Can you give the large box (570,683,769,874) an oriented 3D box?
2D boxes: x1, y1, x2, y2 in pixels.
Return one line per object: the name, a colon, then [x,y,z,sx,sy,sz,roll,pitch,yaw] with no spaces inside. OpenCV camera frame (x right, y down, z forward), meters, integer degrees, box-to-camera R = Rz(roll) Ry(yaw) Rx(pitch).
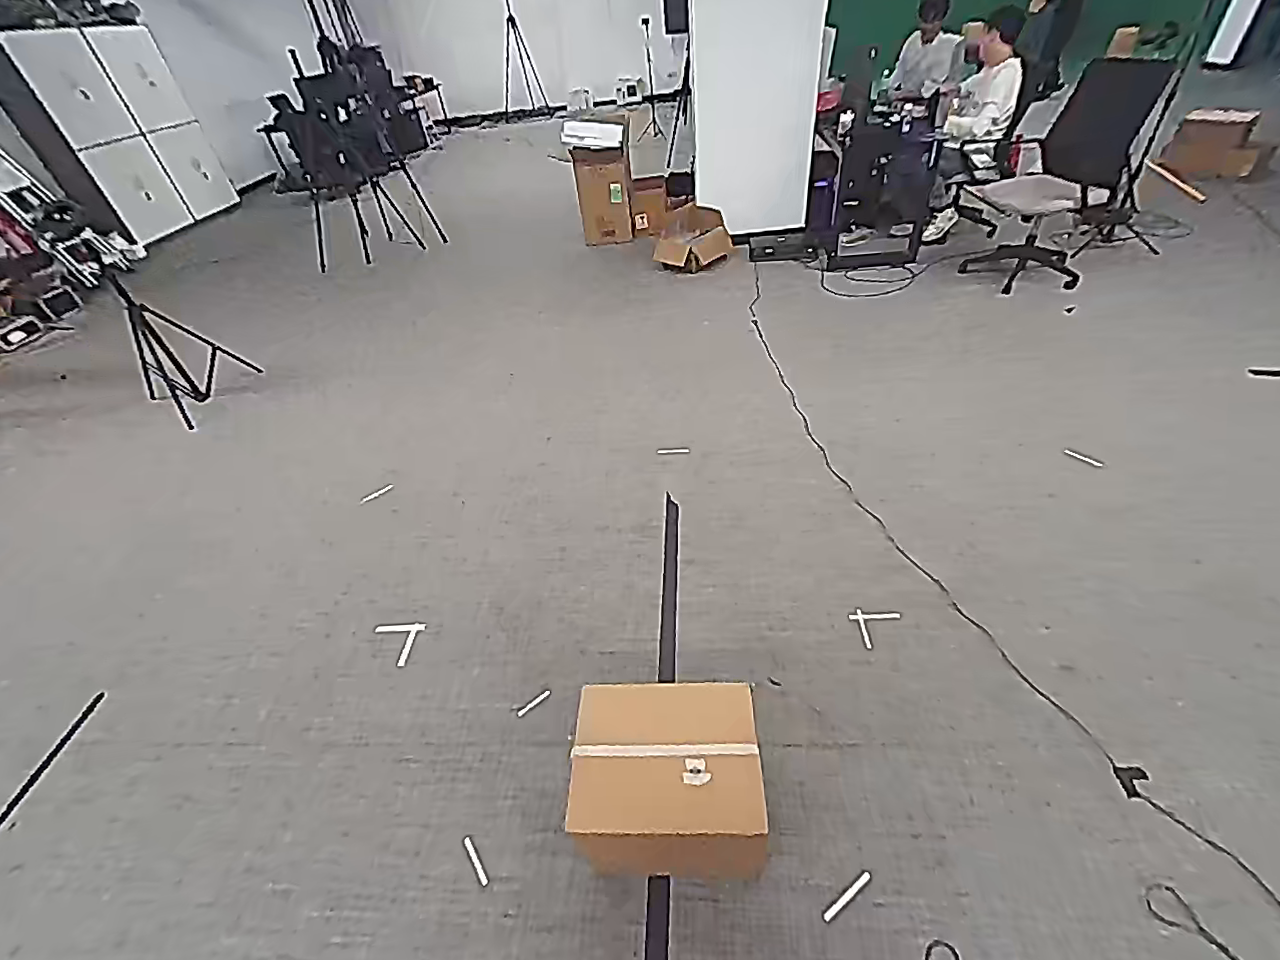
large box: [0.071,0.703,1.273,0.408,0.320,0.320,-3,42,5]
